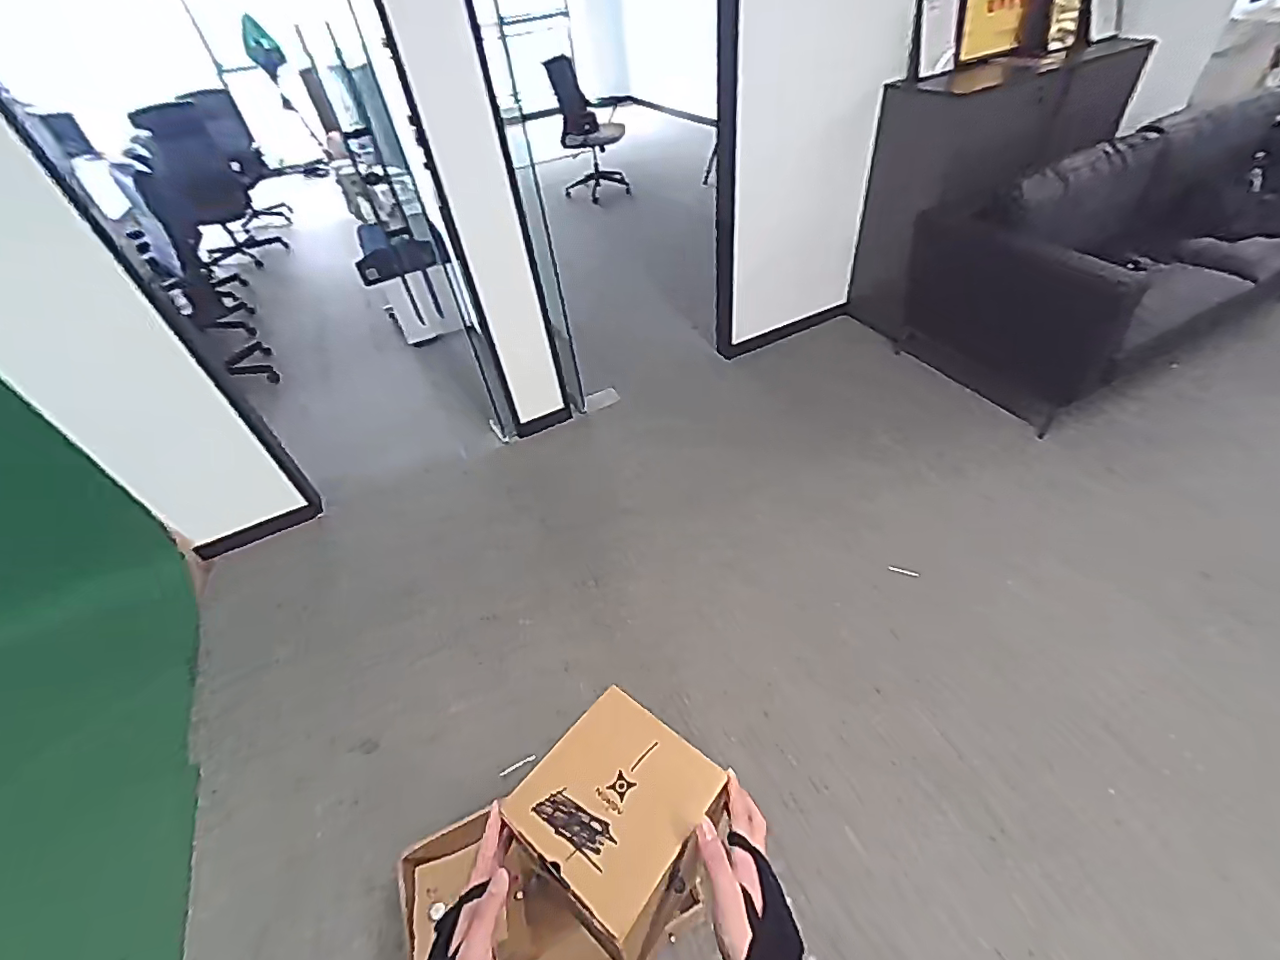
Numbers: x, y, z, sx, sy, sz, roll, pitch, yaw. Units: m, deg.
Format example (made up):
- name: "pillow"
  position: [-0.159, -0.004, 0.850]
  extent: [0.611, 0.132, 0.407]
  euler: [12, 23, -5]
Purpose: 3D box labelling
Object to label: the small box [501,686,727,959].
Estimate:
- name: "small box"
  position: [-0.020, 0.377, 0.596]
  extent: [0.168, 0.176, 0.179]
  euler: [27, 48, 32]
